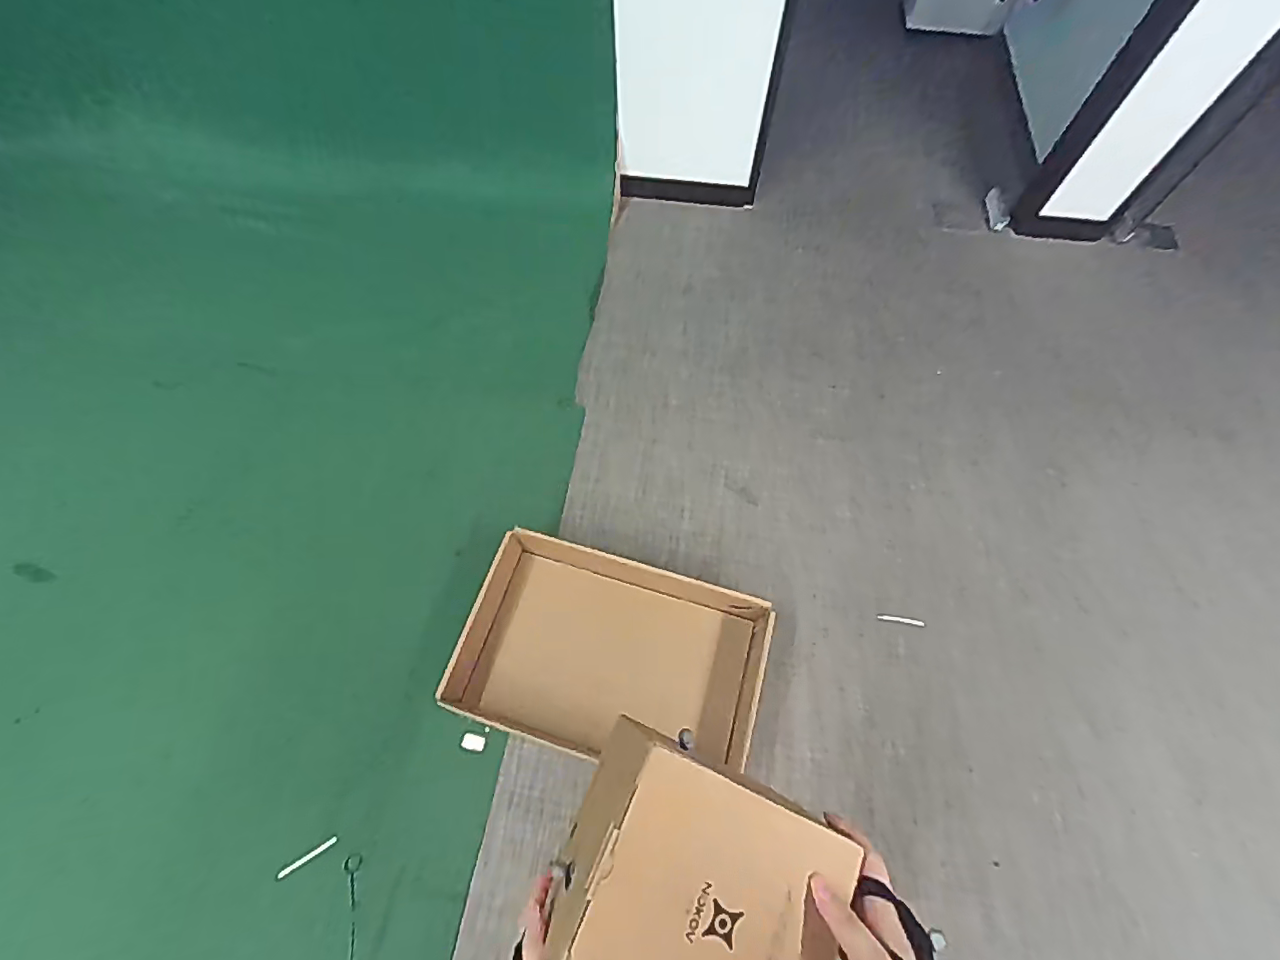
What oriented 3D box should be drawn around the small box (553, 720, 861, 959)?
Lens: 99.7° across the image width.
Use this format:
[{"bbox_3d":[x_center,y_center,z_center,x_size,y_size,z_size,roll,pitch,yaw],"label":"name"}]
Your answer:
[{"bbox_3d":[0.039,0.316,0.445,0.179,0.176,0.168,28,71,-1],"label":"small box"}]
